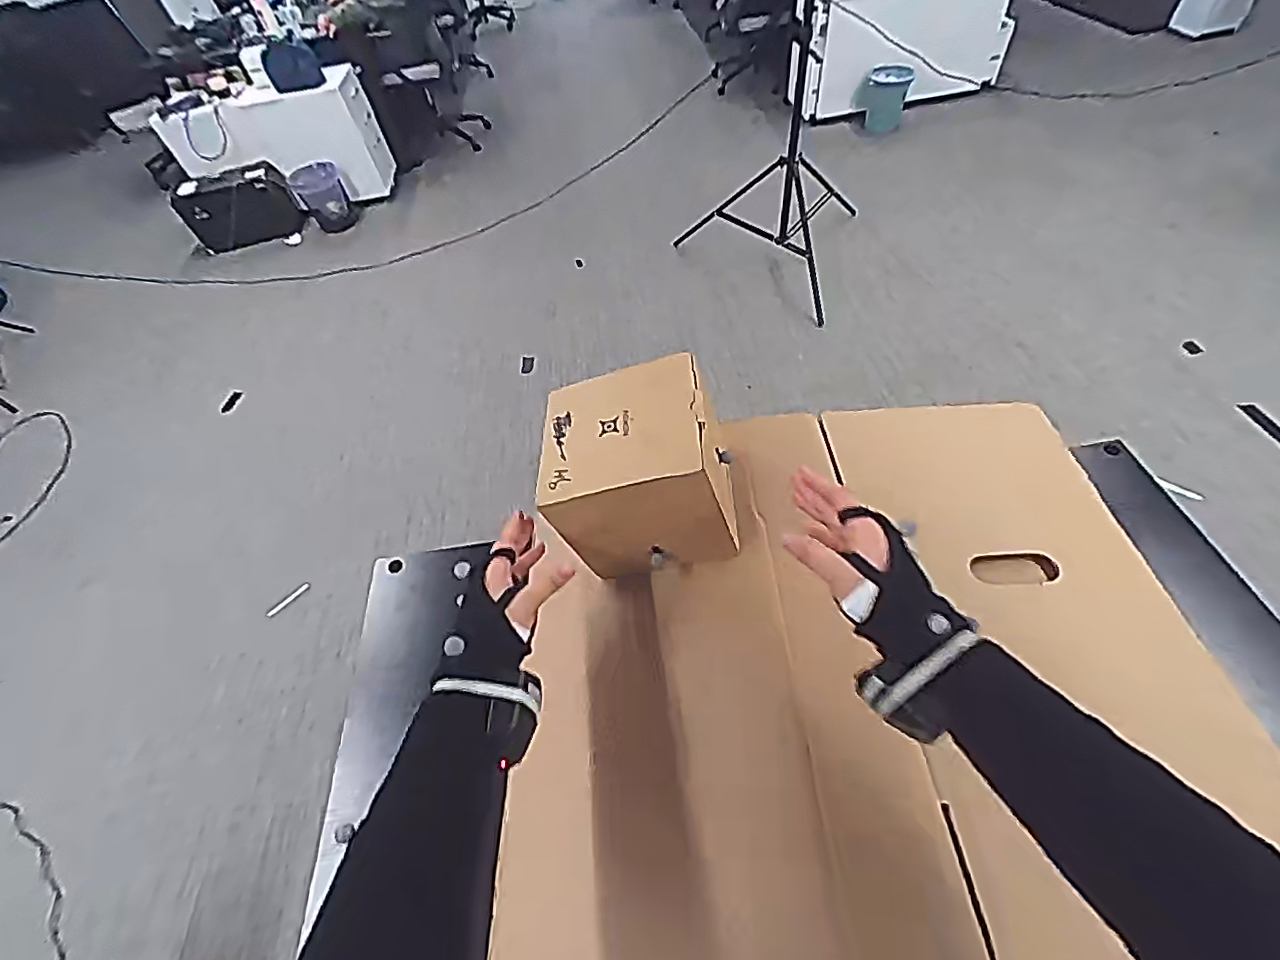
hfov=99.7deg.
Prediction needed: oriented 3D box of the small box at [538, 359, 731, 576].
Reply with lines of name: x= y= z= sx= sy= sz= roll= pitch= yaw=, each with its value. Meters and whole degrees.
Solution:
small box: x=0.004 y=-0.007 z=0.627 sx=0.179 sy=0.176 sz=0.168 roll=-12 pitch=50 yaw=14
